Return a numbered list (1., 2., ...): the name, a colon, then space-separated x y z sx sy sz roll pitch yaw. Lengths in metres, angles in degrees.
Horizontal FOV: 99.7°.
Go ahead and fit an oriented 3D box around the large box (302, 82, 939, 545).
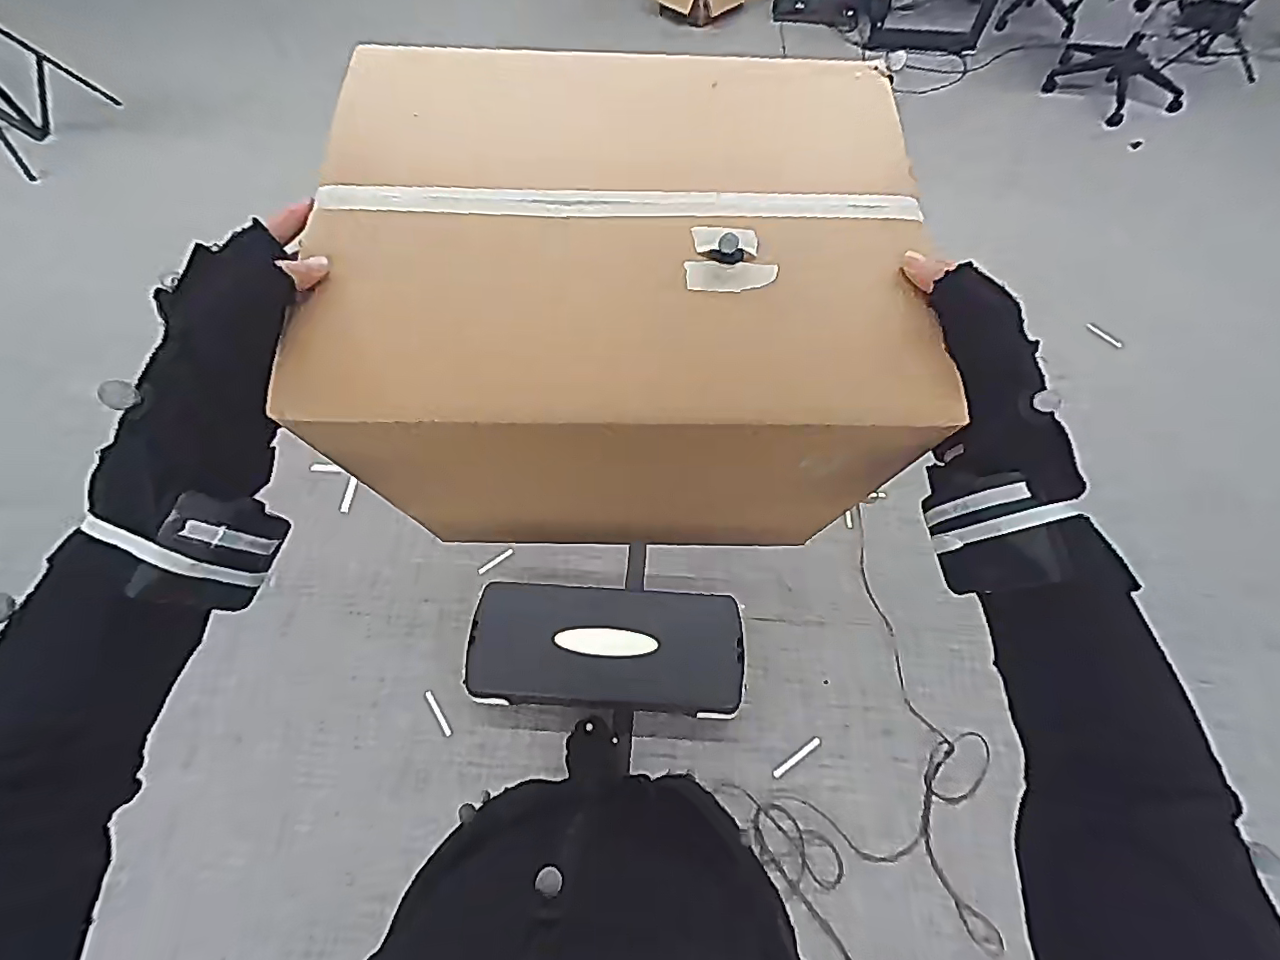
1. large box: -0.016 -0.125 0.524 0.408 0.320 0.320 1 70 -2
